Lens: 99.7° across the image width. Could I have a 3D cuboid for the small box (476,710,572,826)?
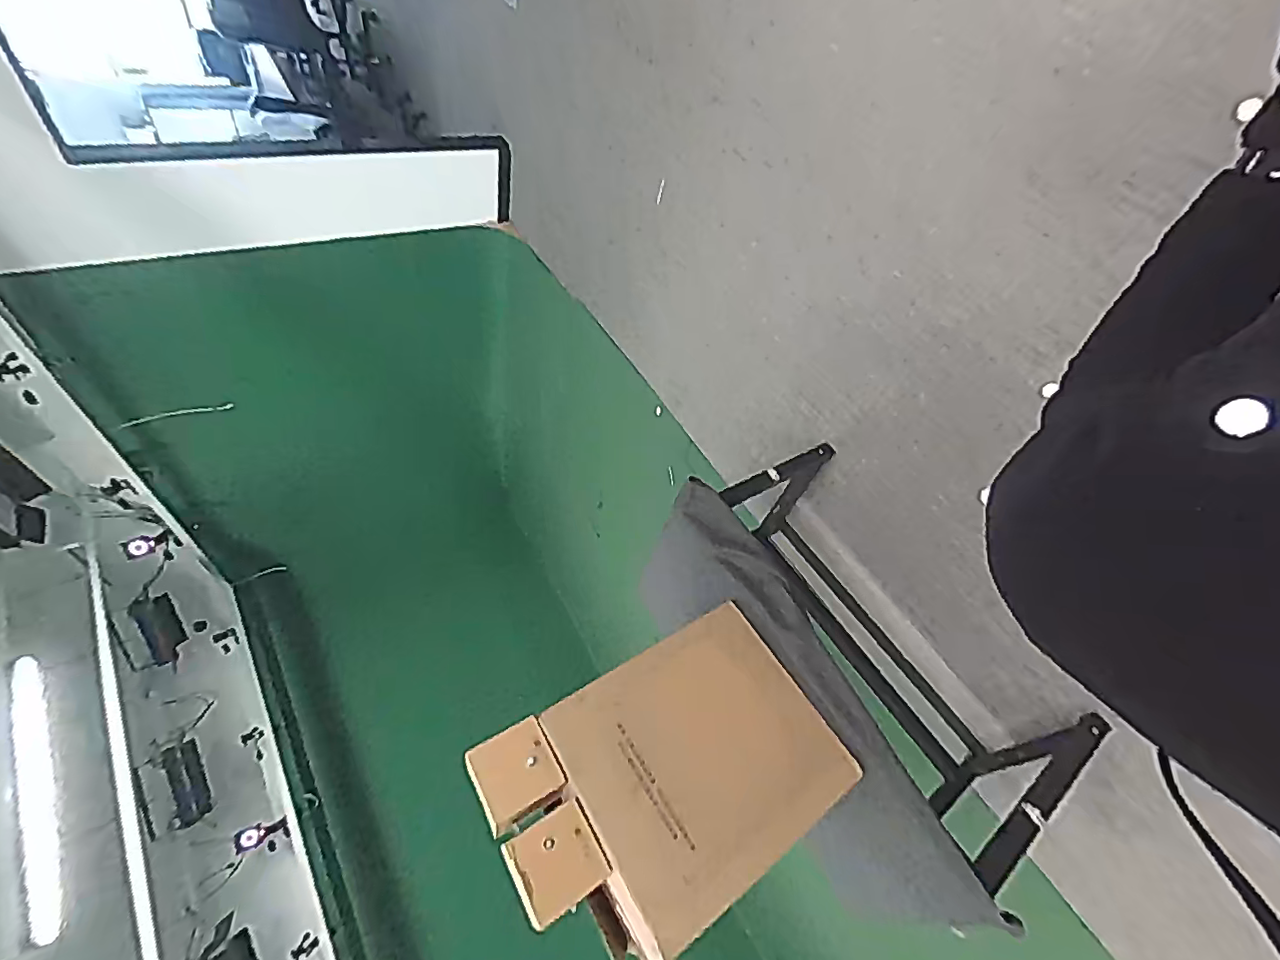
[{"bbox_3d":[-0.274,0.681,1.282,0.168,0.176,0.179,54,148,28],"label":"small box"}]
